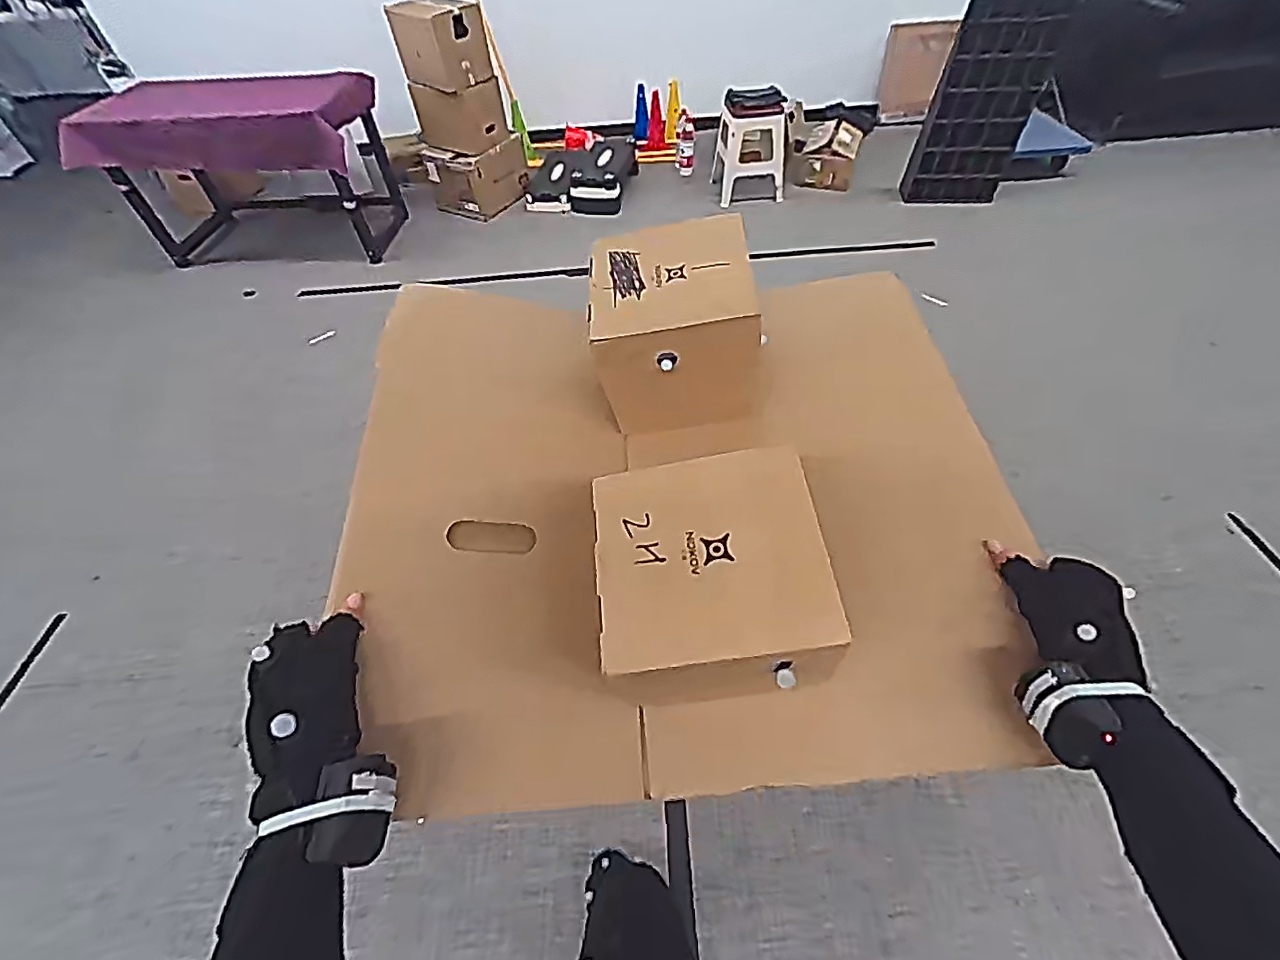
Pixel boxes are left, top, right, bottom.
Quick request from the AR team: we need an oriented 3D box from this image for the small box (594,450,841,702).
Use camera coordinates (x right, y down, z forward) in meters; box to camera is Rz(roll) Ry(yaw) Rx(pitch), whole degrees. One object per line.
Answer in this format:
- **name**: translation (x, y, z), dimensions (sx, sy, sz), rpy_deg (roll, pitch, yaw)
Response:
- **small box**: translation (0.065, 0.097, 0.493), dimensions (0.179, 0.176, 0.168), rpy_deg (-10, 58, 8)

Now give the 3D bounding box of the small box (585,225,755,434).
- **small box**: translation (0.041, -0.172, 0.658), dimensions (0.179, 0.176, 0.168), rpy_deg (-7, 59, 8)
